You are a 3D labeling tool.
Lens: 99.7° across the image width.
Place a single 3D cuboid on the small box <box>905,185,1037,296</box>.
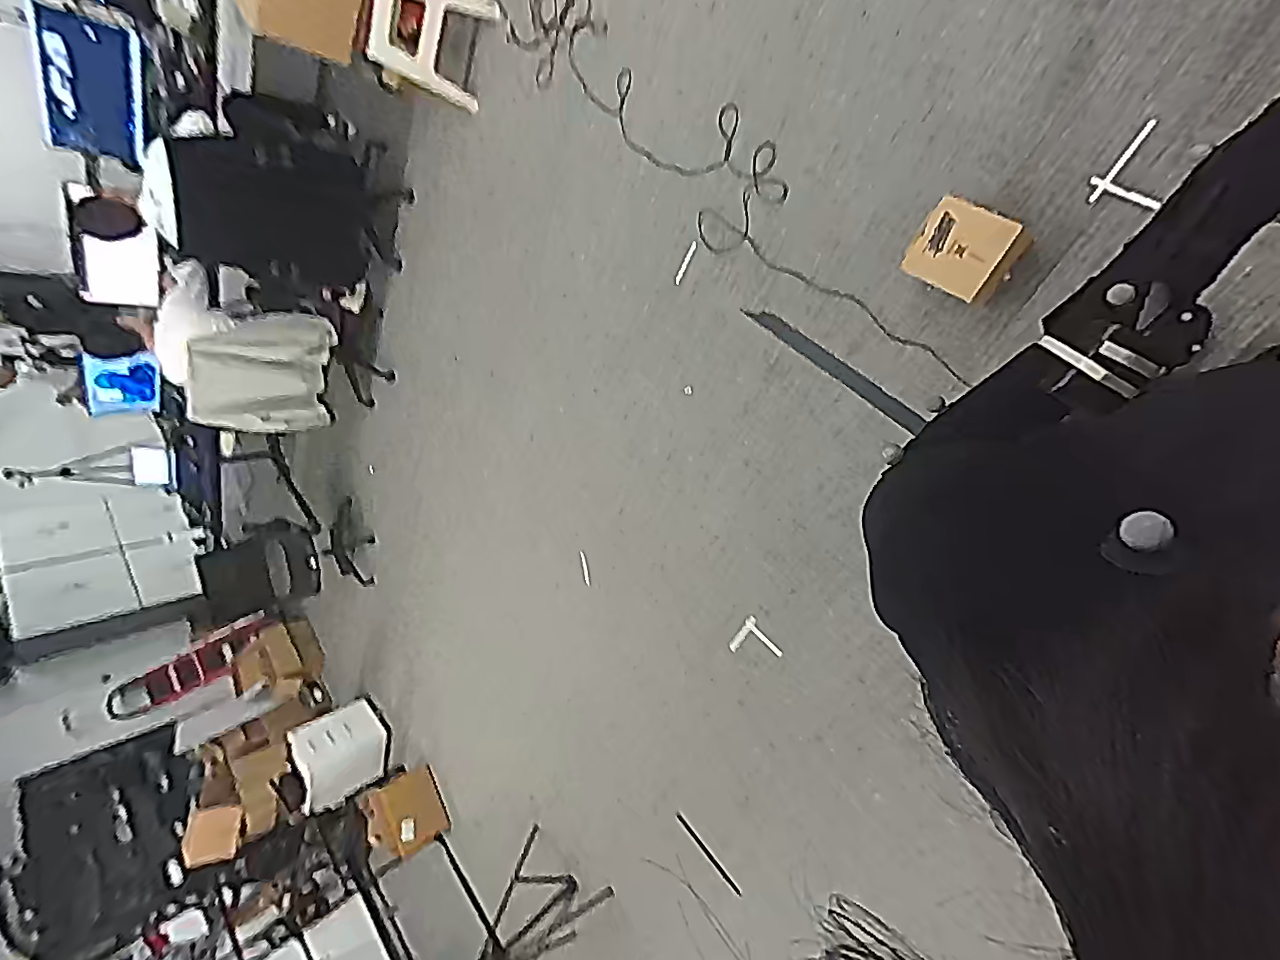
[{"bbox_3d":[0.730,-0.518,1.193,0.179,0.176,0.168,42,125,26],"label":"small box"}]
